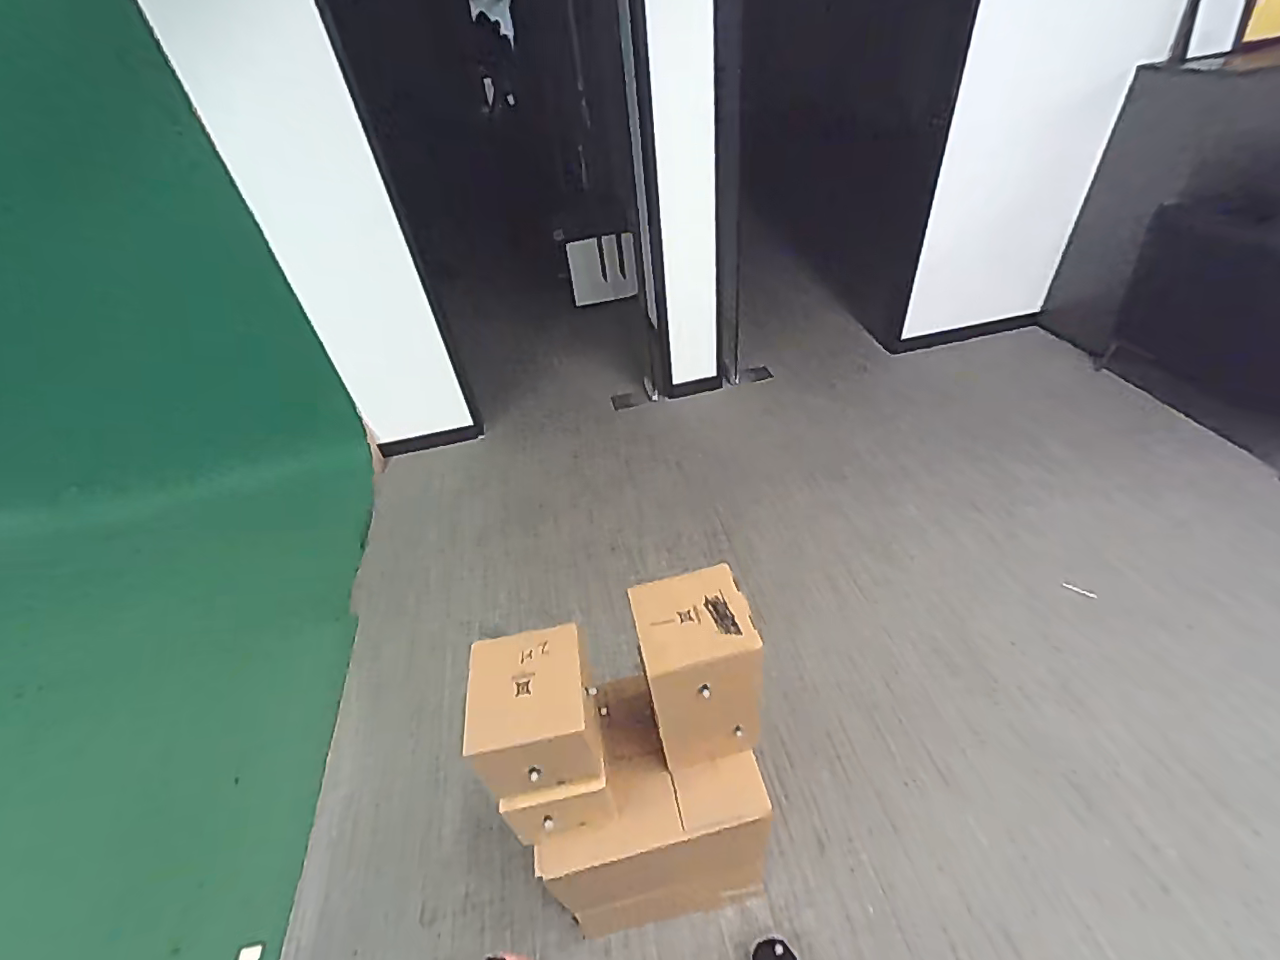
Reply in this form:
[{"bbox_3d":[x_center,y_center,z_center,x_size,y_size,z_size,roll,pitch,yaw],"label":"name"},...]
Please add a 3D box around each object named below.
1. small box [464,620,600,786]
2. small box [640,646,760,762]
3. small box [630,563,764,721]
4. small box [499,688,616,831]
[{"bbox_3d":[-0.157,0.347,0.832,0.168,0.176,0.179,-9,42,-3],"label":"small box"},{"bbox_3d":[0.107,0.388,0.995,0.179,0.176,0.168,-14,41,-4],"label":"small box"},{"bbox_3d":[0.091,0.266,0.887,0.179,0.176,0.168,-13,41,-3],"label":"small box"},{"bbox_3d":[-0.139,0.478,0.931,0.168,0.176,0.179,-11,42,-4],"label":"small box"}]
